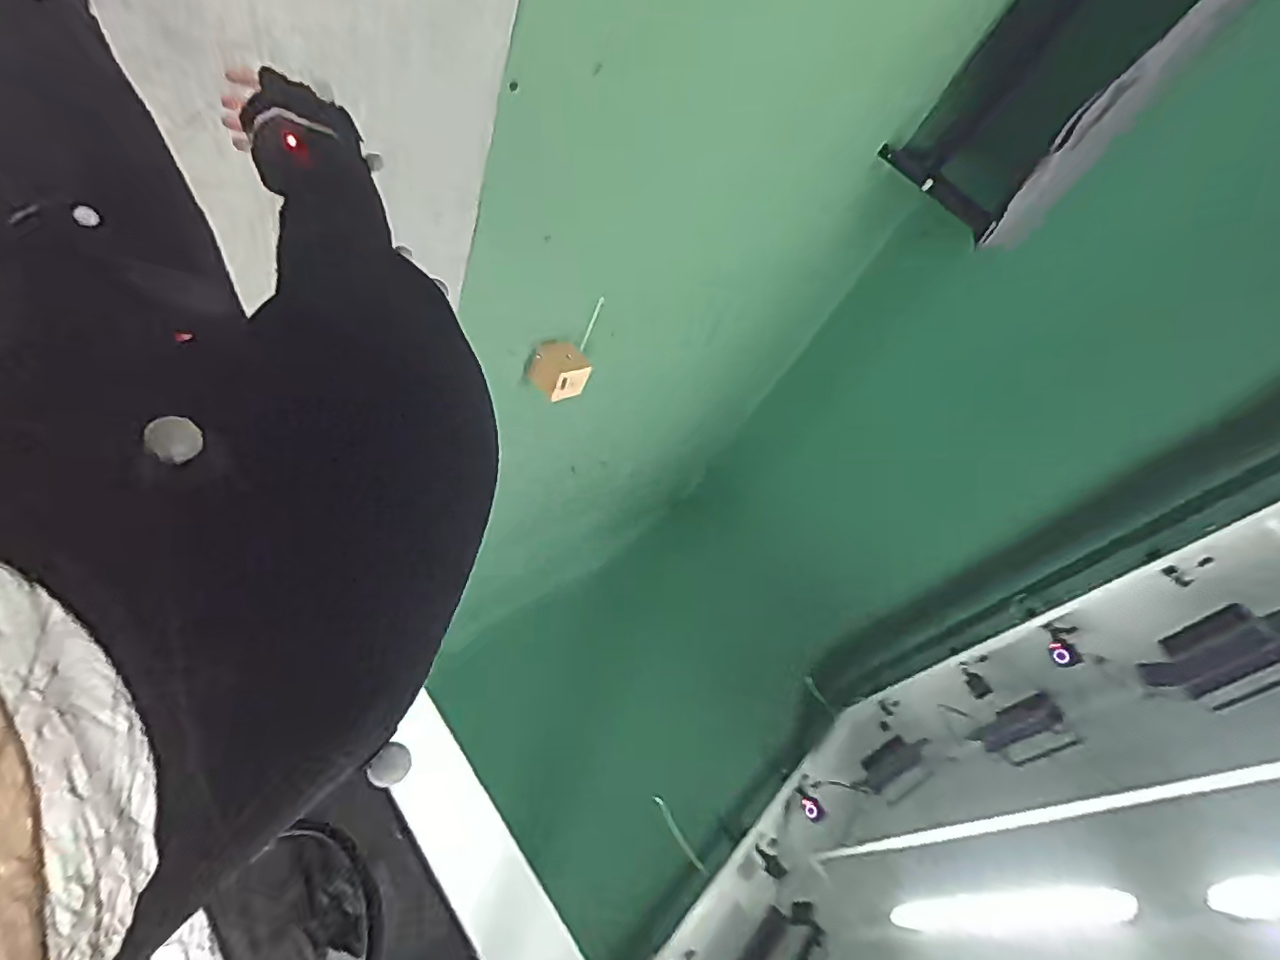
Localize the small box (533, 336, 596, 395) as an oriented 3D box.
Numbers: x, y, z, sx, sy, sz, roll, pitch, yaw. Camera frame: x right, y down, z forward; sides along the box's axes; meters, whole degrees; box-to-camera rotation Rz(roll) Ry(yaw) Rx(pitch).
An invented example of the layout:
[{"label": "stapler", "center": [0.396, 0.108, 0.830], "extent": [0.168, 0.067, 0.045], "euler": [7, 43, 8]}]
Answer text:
[{"label": "small box", "center": [-0.326, -0.490, 2.293], "extent": [0.179, 0.176, 0.168], "euler": [-25, 158, -42]}]
